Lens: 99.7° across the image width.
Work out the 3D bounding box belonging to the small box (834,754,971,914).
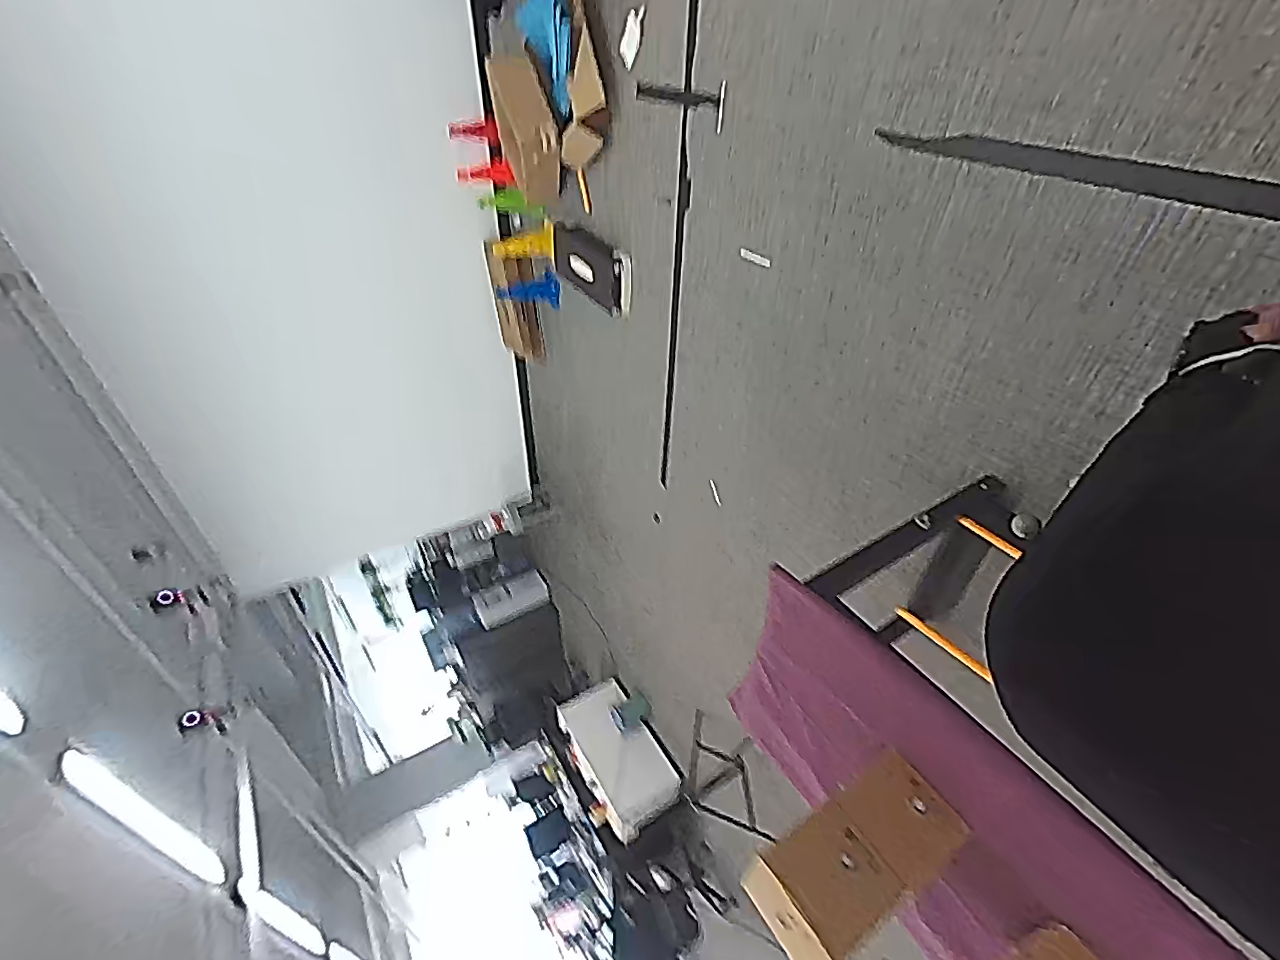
[{"bbox_3d":[0.444,0.633,0.963,0.168,0.176,0.179,46,145,39],"label":"small box"}]

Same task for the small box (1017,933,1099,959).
[{"bbox_3d":[0.614,0.800,0.759,0.179,0.176,0.168,46,146,41],"label":"small box"}]

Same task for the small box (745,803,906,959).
[{"bbox_3d":[0.302,0.683,0.894,0.168,0.176,0.179,45,145,39],"label":"small box"}]
